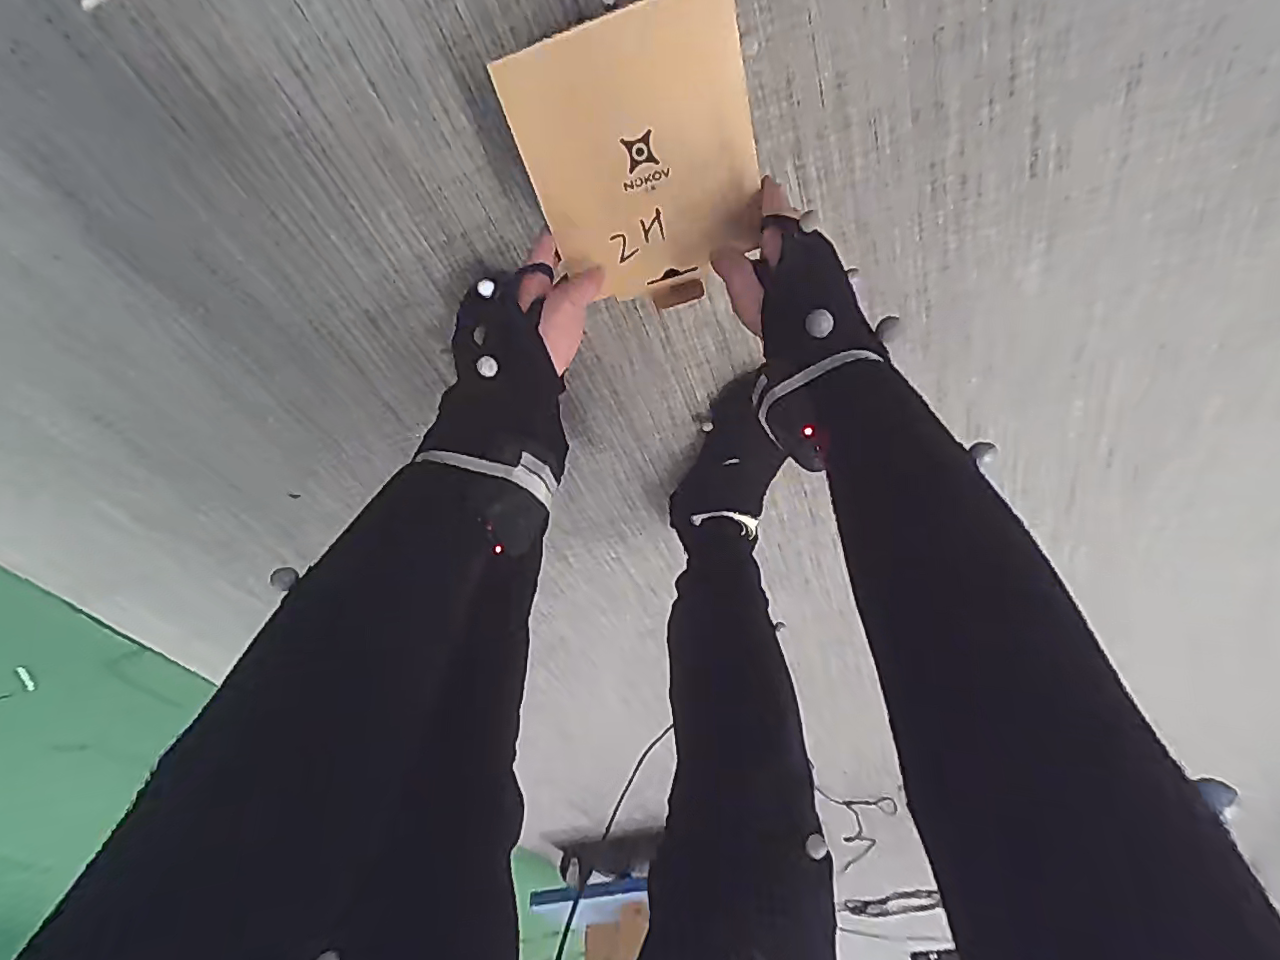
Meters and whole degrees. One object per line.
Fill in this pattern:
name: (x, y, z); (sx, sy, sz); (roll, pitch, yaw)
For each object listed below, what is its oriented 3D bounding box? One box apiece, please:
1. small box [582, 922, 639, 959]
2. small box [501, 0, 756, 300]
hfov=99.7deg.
small box: (-0.107, 1.717, 1.947); (0.179, 0.176, 0.168); (-15, 129, 11)
small box: (0.001, -0.280, 0.456); (0.168, 0.176, 0.179); (-7, 132, 8)
